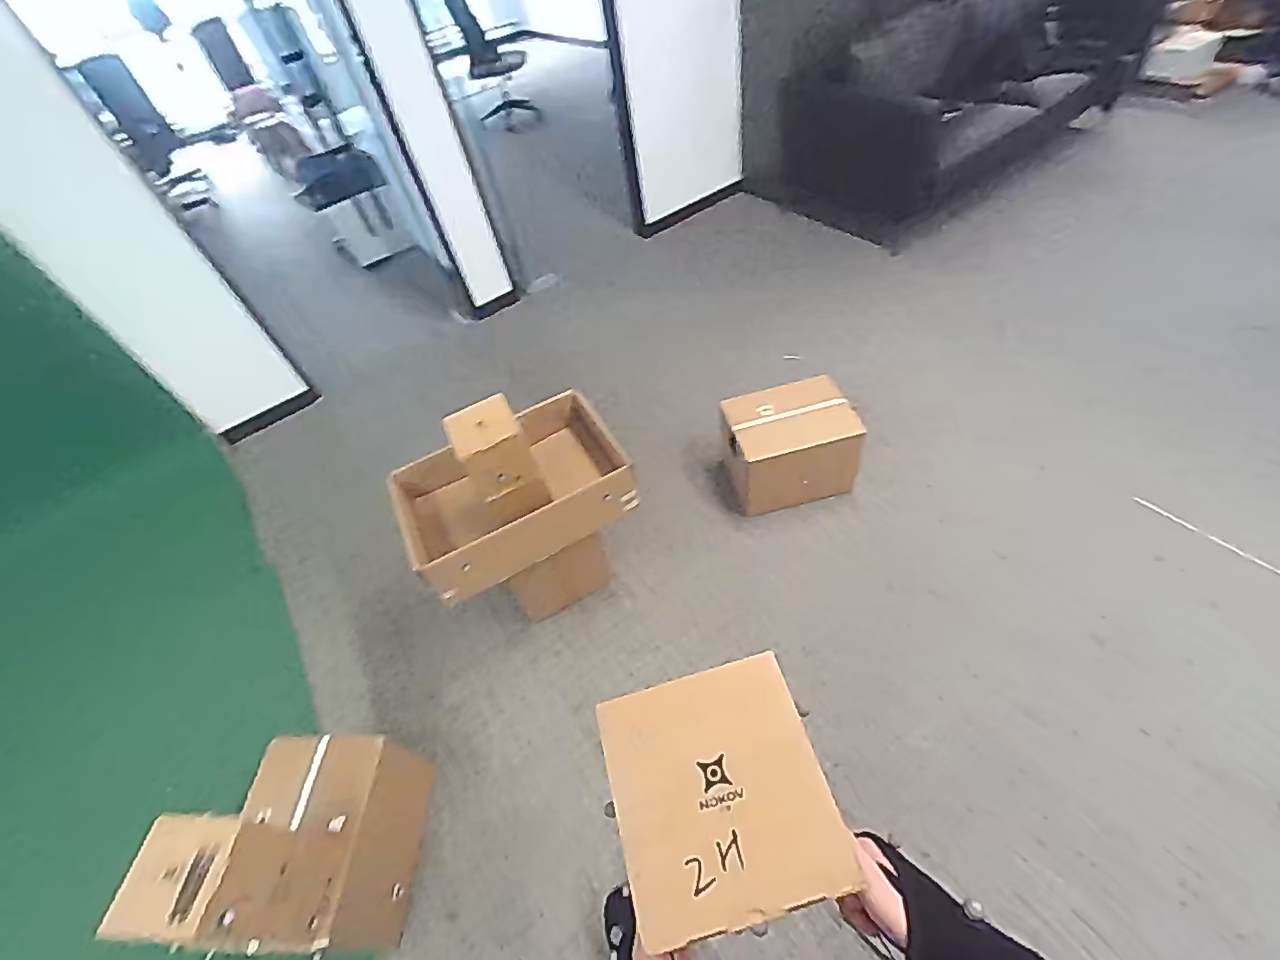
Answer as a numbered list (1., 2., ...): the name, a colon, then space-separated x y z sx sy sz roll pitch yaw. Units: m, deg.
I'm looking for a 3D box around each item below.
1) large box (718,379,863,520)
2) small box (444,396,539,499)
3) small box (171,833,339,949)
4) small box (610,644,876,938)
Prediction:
1. large box: 0.523 -0.106 1.944 0.408 0.320 0.320 -15 48 -1
2. small box: -0.386 -0.084 1.415 0.168 0.176 0.179 -27 51 -11
3. small box: -0.738 0.809 1.064 0.179 0.176 0.168 -3 48 8
4. small box: 0.080 0.277 0.489 0.168 0.176 0.179 -16 54 0
